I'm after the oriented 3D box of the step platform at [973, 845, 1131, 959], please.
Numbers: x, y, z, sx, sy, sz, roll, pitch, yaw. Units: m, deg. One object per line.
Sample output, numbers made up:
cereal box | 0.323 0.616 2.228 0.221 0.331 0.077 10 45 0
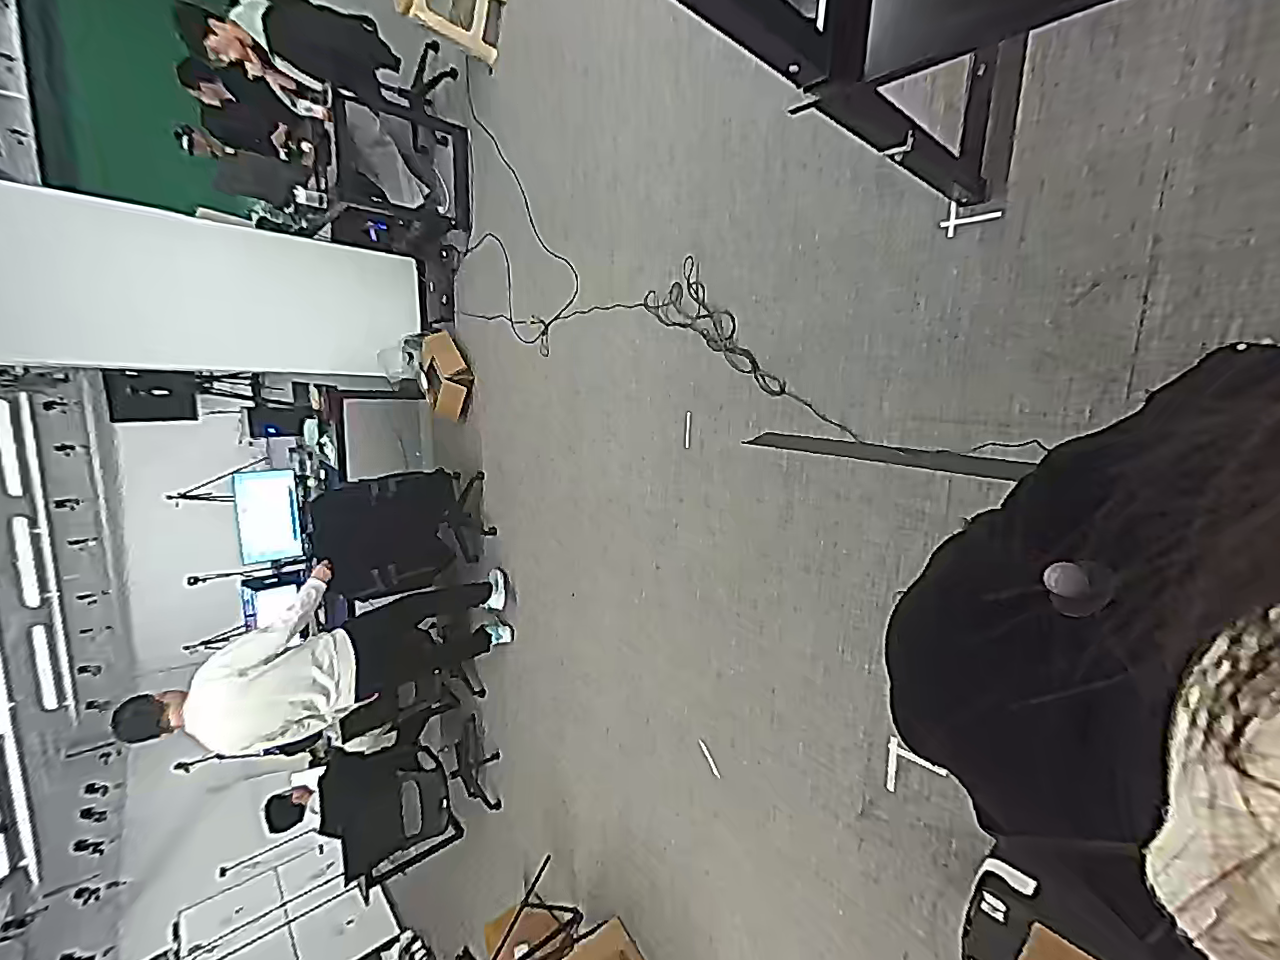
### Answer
step platform | 1.079 1.126 1.095 0.684 0.204 0.286 21 110 45
